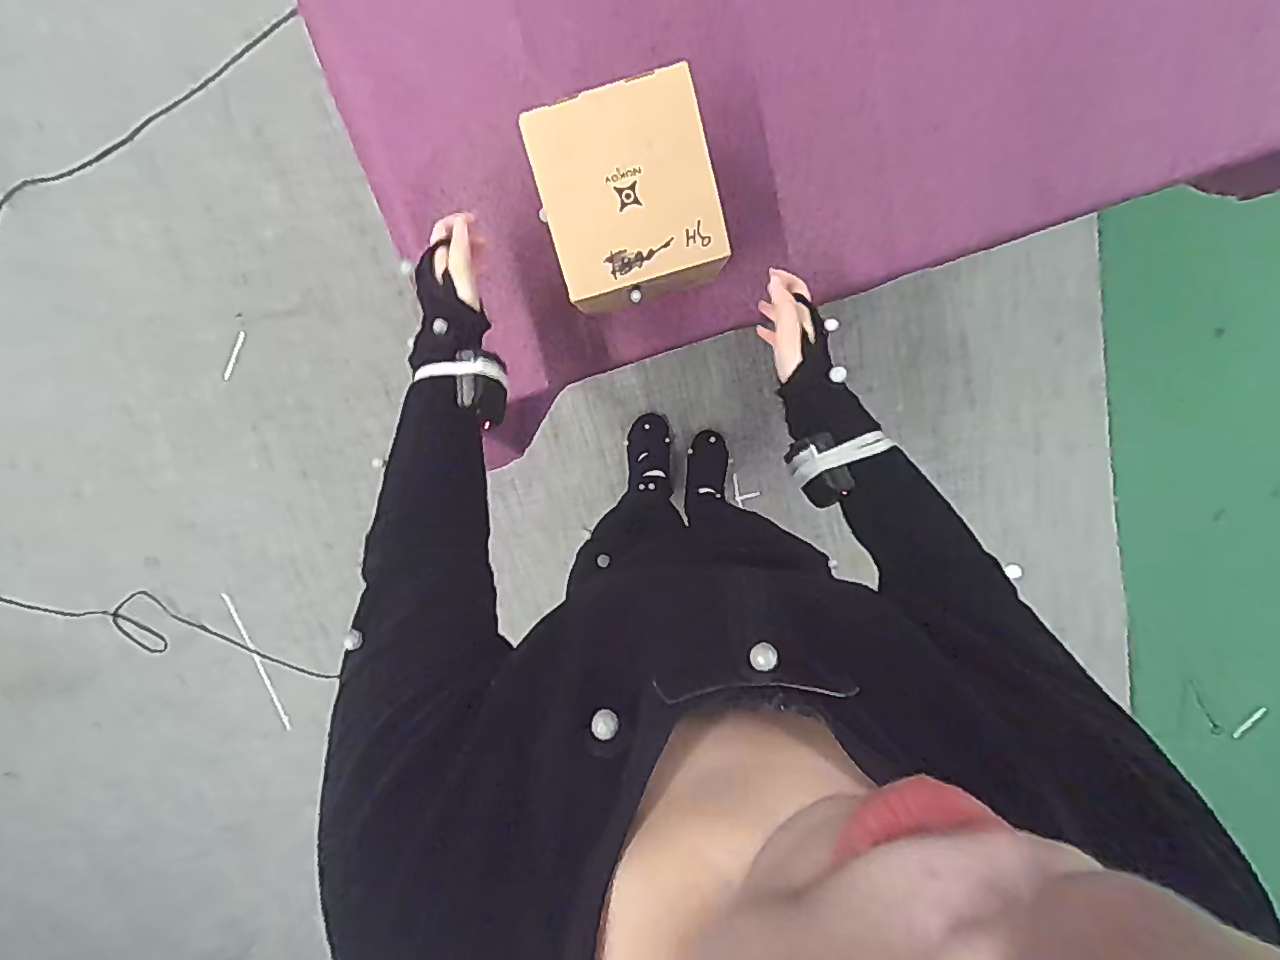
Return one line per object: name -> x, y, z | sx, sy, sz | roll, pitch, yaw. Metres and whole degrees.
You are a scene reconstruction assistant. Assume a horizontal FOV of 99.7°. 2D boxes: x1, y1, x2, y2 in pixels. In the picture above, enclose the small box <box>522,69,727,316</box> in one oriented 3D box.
small box -> -0.012, -0.294, 0.595 | 0.168, 0.176, 0.179 | -14, 101, 5
